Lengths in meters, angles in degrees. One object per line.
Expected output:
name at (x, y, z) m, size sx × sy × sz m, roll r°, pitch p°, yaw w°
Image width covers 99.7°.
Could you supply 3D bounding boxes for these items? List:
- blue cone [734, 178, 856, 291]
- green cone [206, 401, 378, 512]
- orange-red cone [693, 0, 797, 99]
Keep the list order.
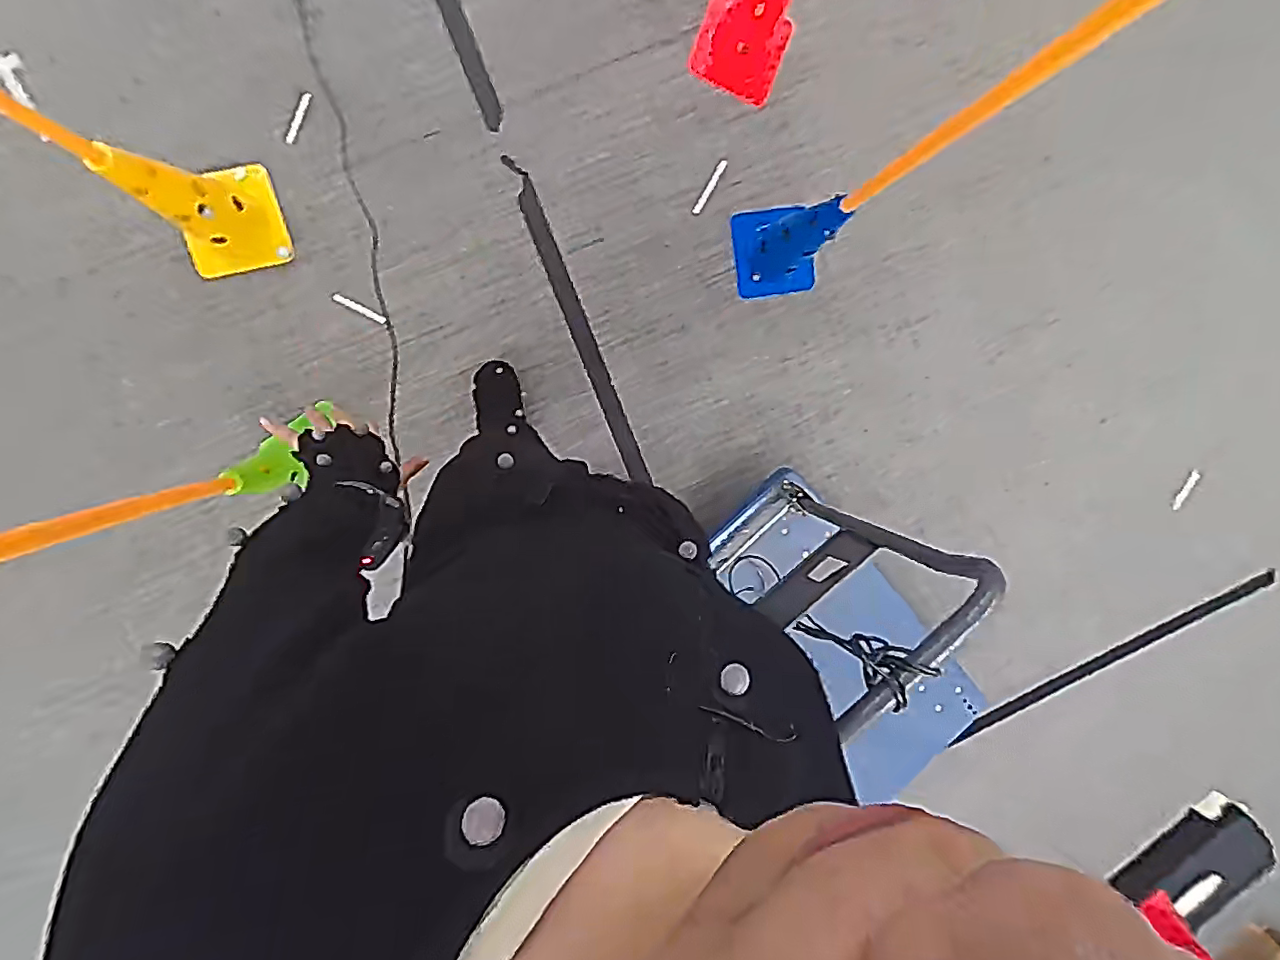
blue cone at (0.348, -0.538, 1.149) m, size 0.193 × 0.380 × 0.192 m, roll -9°, pitch 100°, yaw -6°
green cone at (-0.714, -0.027, 1.069) m, size 0.200 × 0.368 × 0.202 m, roll -37°, pitch 101°, yaw -1°
orange-red cone at (0.258, -0.962, 1.052) m, size 0.198 × 0.360 × 0.199 m, roll 22°, pitch 97°, yaw -10°
